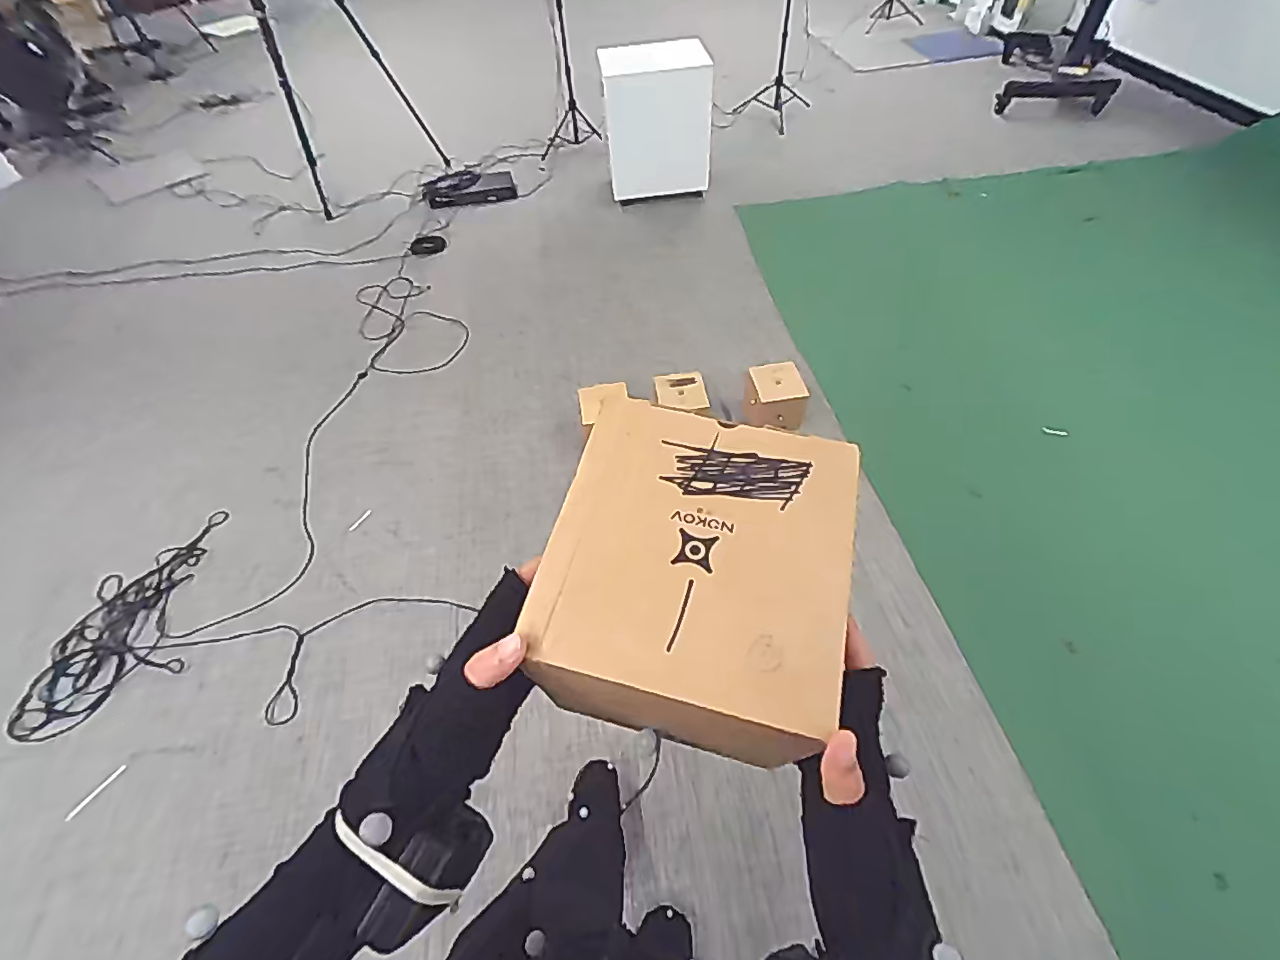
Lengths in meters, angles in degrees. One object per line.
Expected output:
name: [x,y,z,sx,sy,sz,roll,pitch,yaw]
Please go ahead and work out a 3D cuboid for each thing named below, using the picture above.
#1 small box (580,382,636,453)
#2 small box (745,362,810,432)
small box: [-0.109,-0.210,1.879,0.168,0.176,0.179,-9,53,-3]
small box: [0.476,-0.285,1.897,0.168,0.176,0.179,-8,53,-3]
